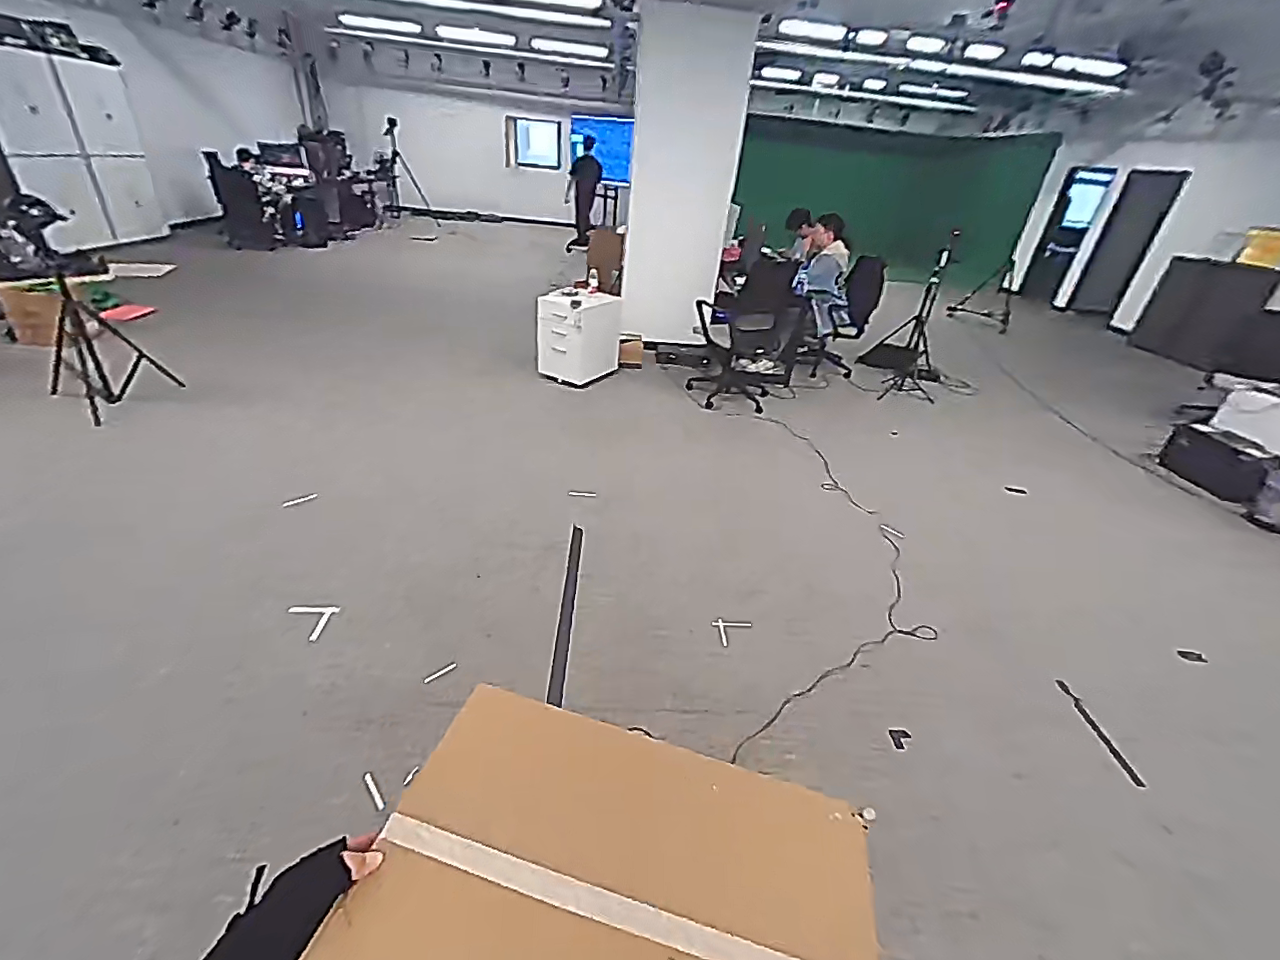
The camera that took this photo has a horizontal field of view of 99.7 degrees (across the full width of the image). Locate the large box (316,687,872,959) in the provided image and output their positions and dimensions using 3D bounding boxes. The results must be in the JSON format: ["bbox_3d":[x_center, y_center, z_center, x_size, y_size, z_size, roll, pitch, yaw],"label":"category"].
[{"bbox_3d":[-0.038,0.468,0.506,0.408,0.320,0.320,15,30,8],"label":"large box"}]
